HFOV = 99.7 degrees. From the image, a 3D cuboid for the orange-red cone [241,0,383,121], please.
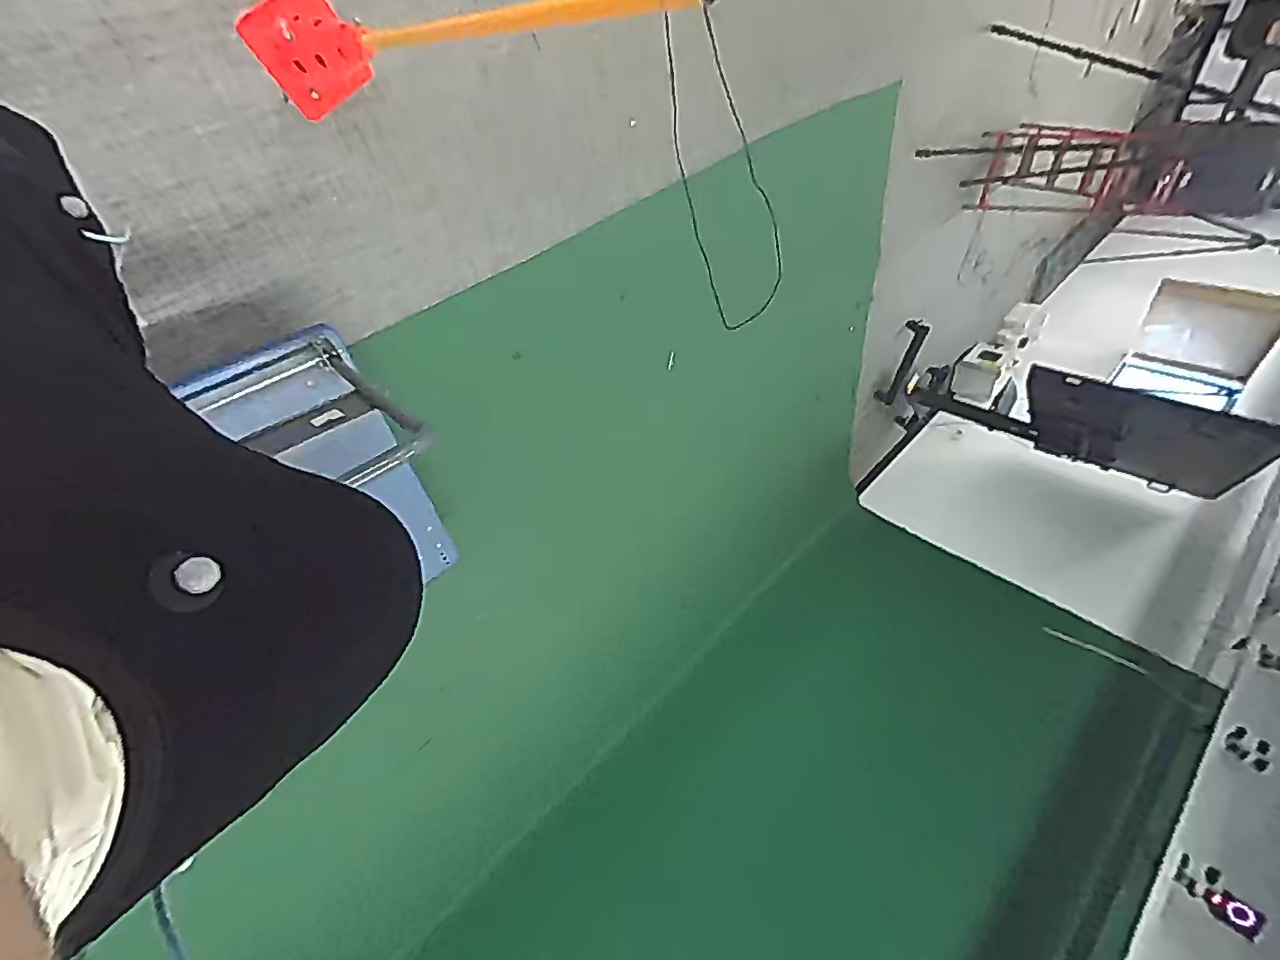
[{"bbox_3d":[-0.601,-0.859,1.076,0.199,0.360,0.198,-49,143,-13],"label":"orange-red cone"}]
